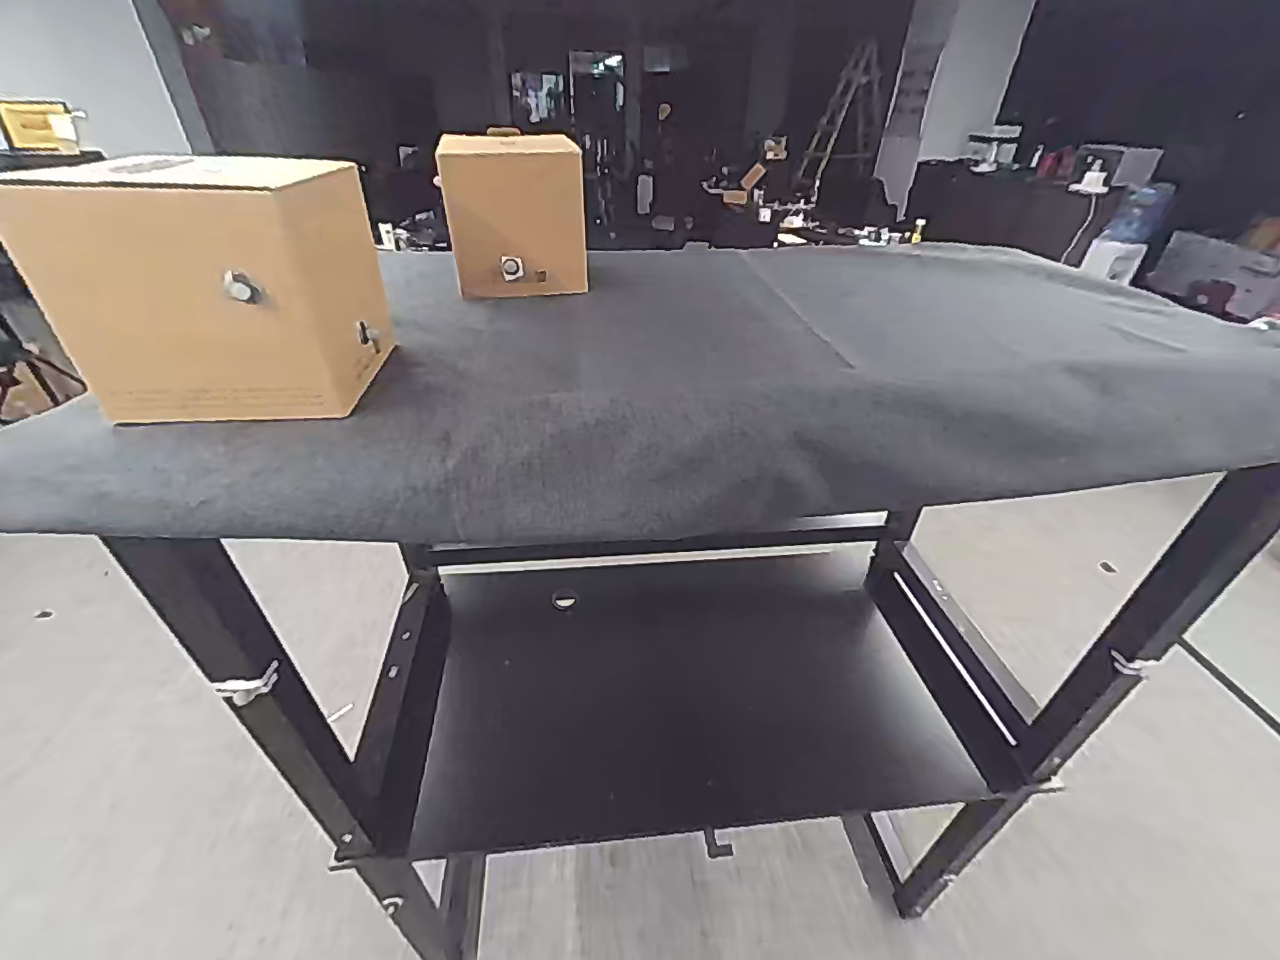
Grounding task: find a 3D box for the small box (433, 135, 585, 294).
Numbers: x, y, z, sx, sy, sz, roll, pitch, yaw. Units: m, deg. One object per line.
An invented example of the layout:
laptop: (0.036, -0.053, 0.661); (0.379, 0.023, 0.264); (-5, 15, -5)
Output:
small box: (-0.168, -0.357, 0.722); (0.168, 0.176, 0.179); (-8, 36, -11)
